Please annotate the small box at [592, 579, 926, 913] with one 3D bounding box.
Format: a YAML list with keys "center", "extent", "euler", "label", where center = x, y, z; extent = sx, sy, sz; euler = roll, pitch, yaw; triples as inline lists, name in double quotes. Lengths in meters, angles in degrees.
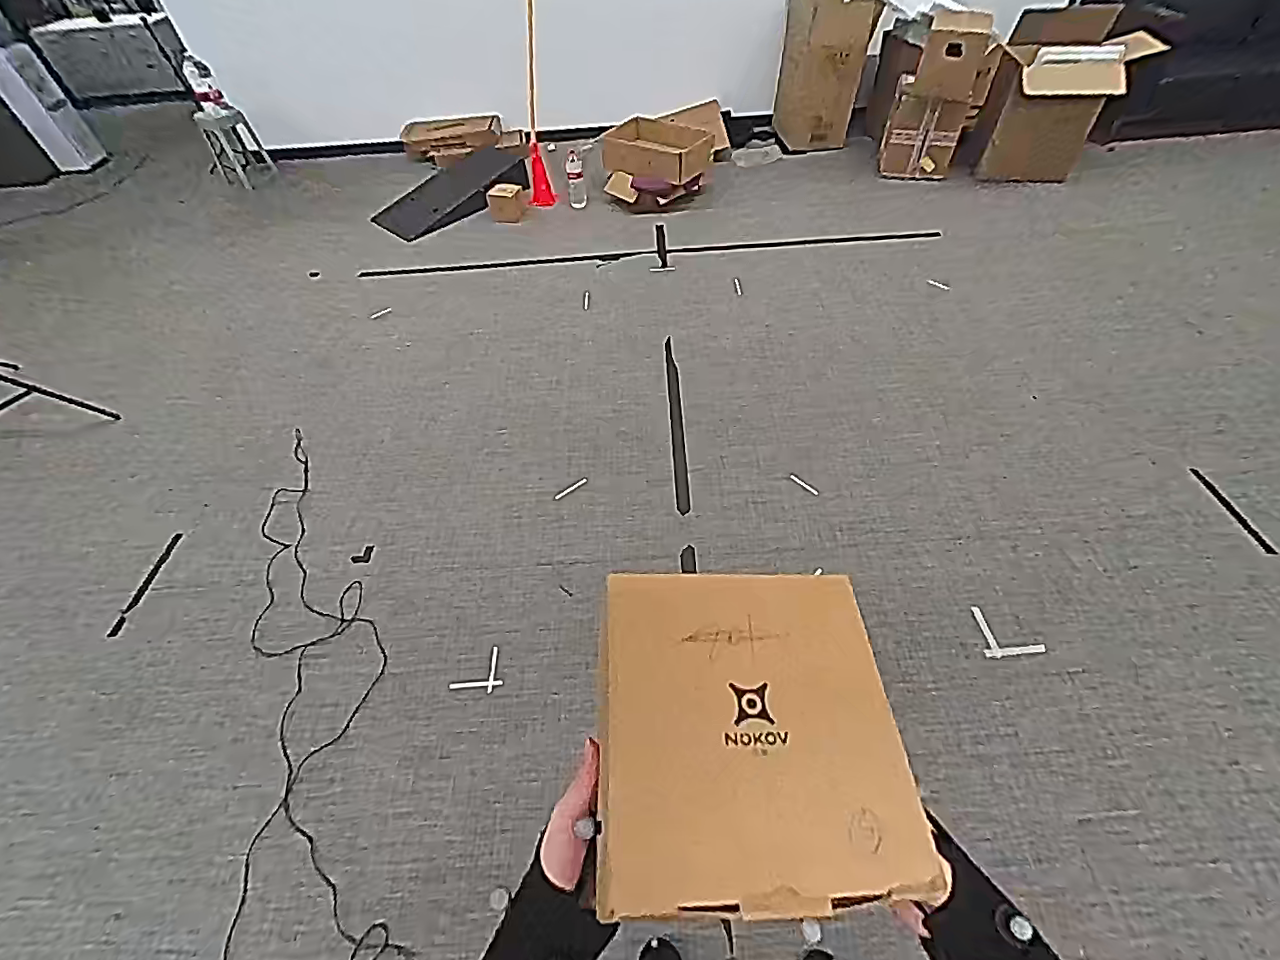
- center: [0.053, 0.186, 0.377]
  extent: [0.168, 0.176, 0.179]
  euler: [2, 50, -7]
  label: "small box"
